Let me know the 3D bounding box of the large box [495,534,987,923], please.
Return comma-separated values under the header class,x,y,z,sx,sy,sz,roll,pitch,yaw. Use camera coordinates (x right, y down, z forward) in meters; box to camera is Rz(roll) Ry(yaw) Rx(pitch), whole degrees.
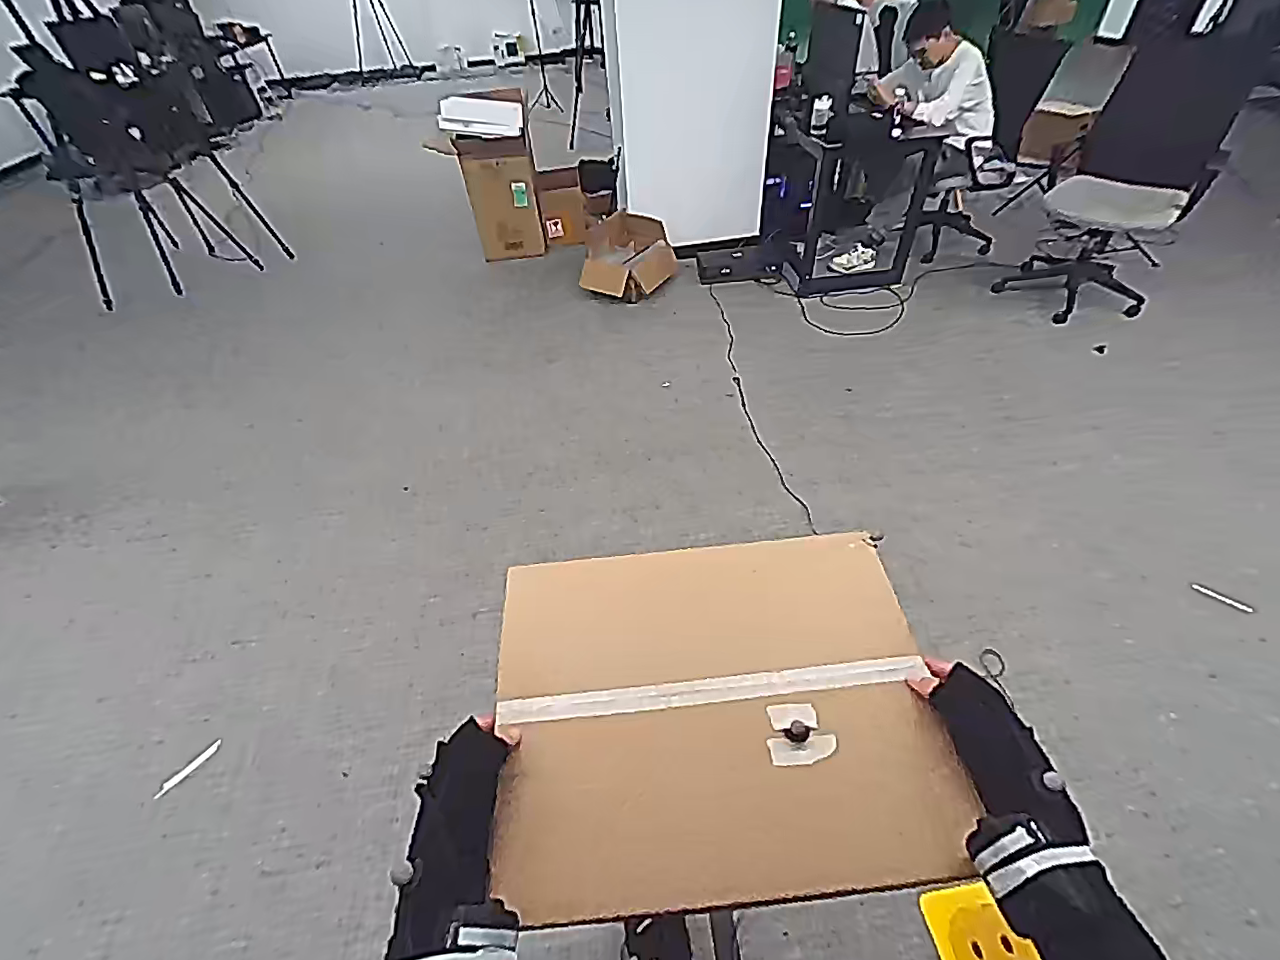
class,x,y,z,sx,sy,sz,roll,pitch,yaw
large box,0.073,0.294,0.632,0.408,0.320,0.320,-6,51,-1
